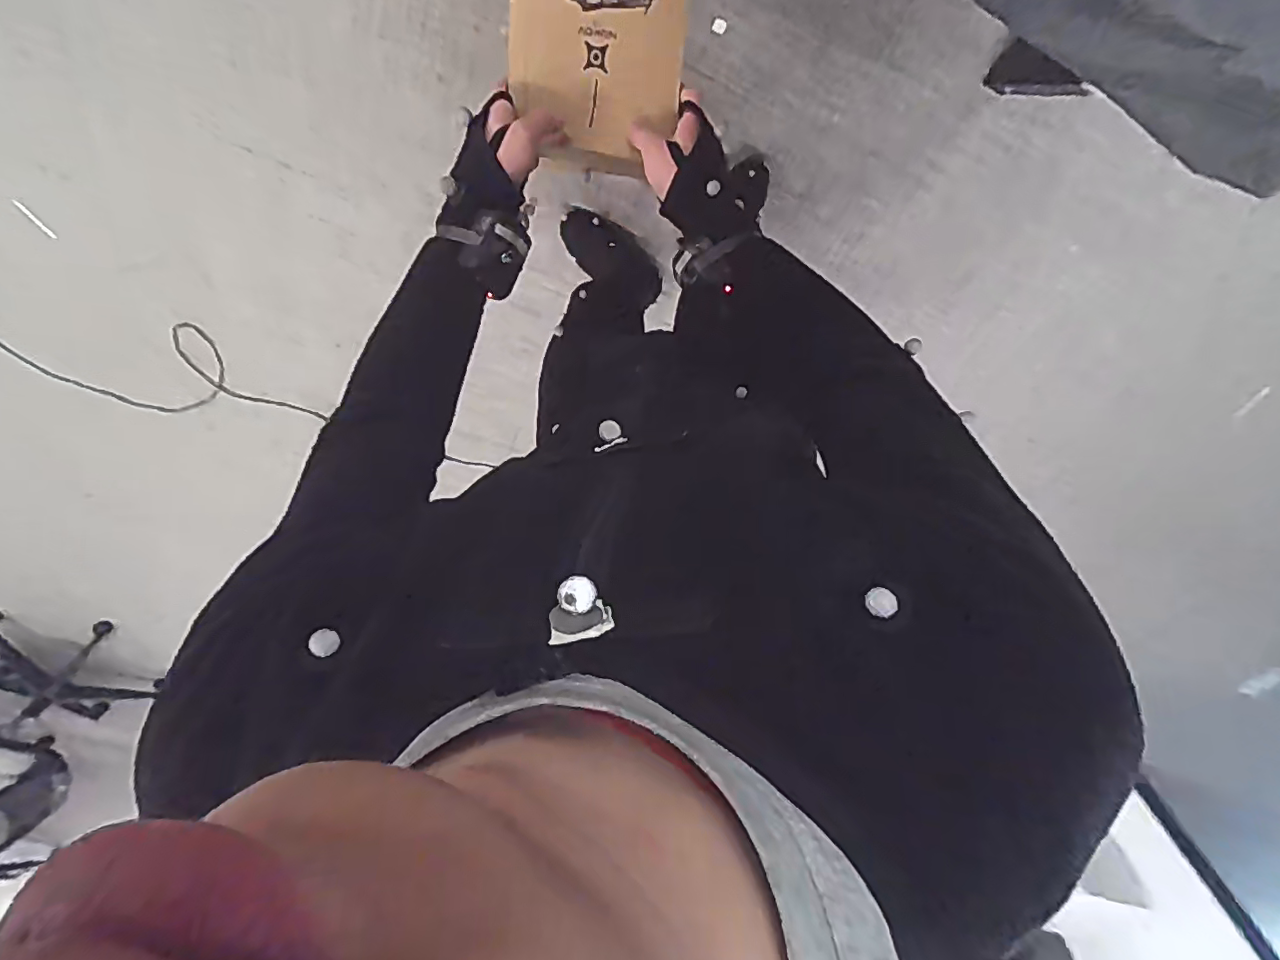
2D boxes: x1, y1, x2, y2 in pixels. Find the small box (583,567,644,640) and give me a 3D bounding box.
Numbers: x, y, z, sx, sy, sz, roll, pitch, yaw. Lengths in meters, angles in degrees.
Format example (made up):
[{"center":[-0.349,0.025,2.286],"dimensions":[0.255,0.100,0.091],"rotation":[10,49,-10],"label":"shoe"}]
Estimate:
[{"center":[-0.100,0.441,1.942],"dimensions":[0.168,0.176,0.179],"rotation":[18,122,-15],"label":"small box"}]
